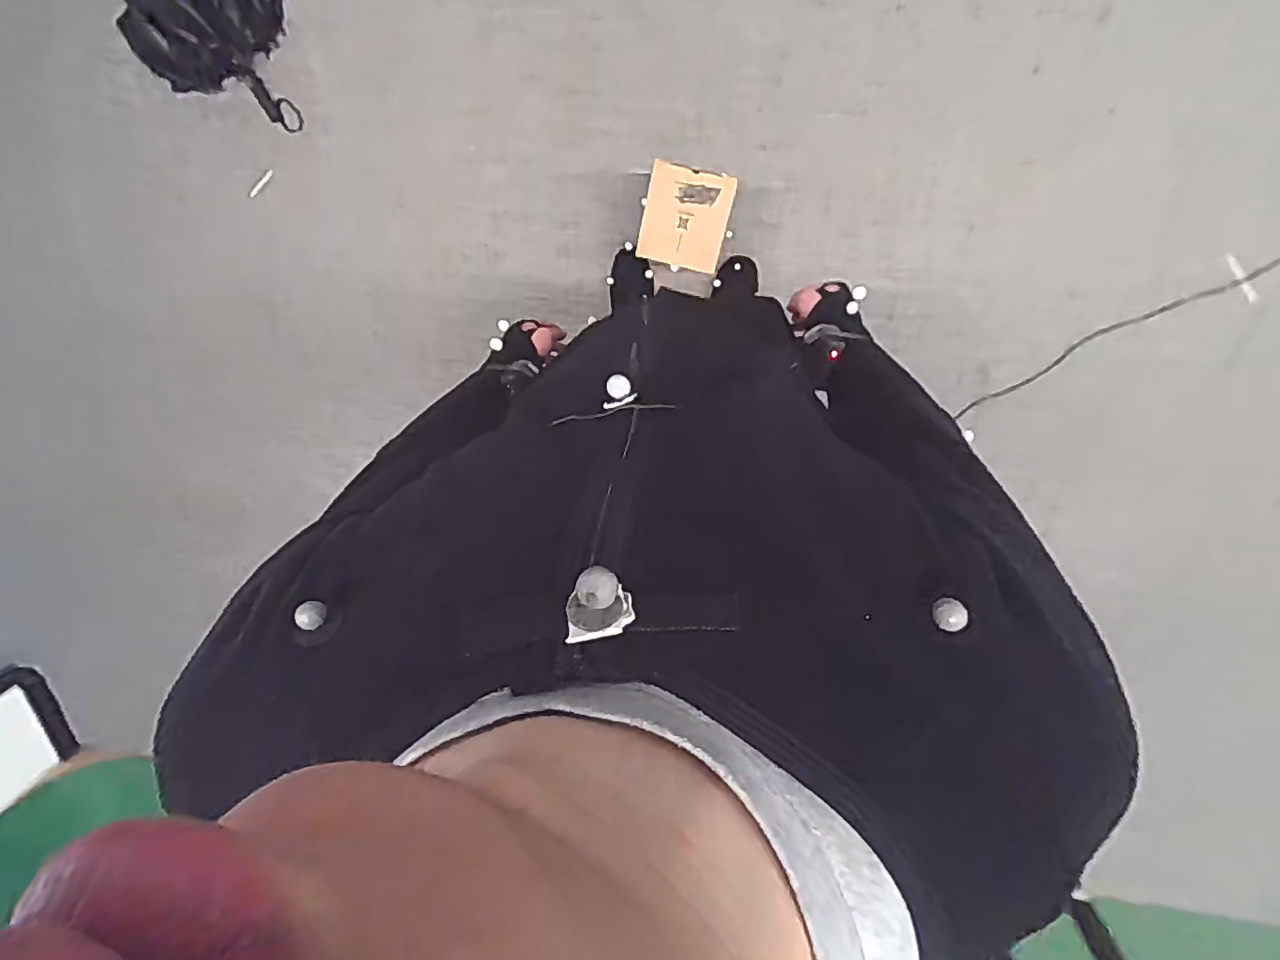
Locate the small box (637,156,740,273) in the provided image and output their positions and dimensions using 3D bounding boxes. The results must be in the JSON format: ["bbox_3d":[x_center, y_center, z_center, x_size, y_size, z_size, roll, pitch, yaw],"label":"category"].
[{"bbox_3d":[0.101,-0.546,1.122,0.168,0.176,0.179,16,117,2],"label":"small box"}]
